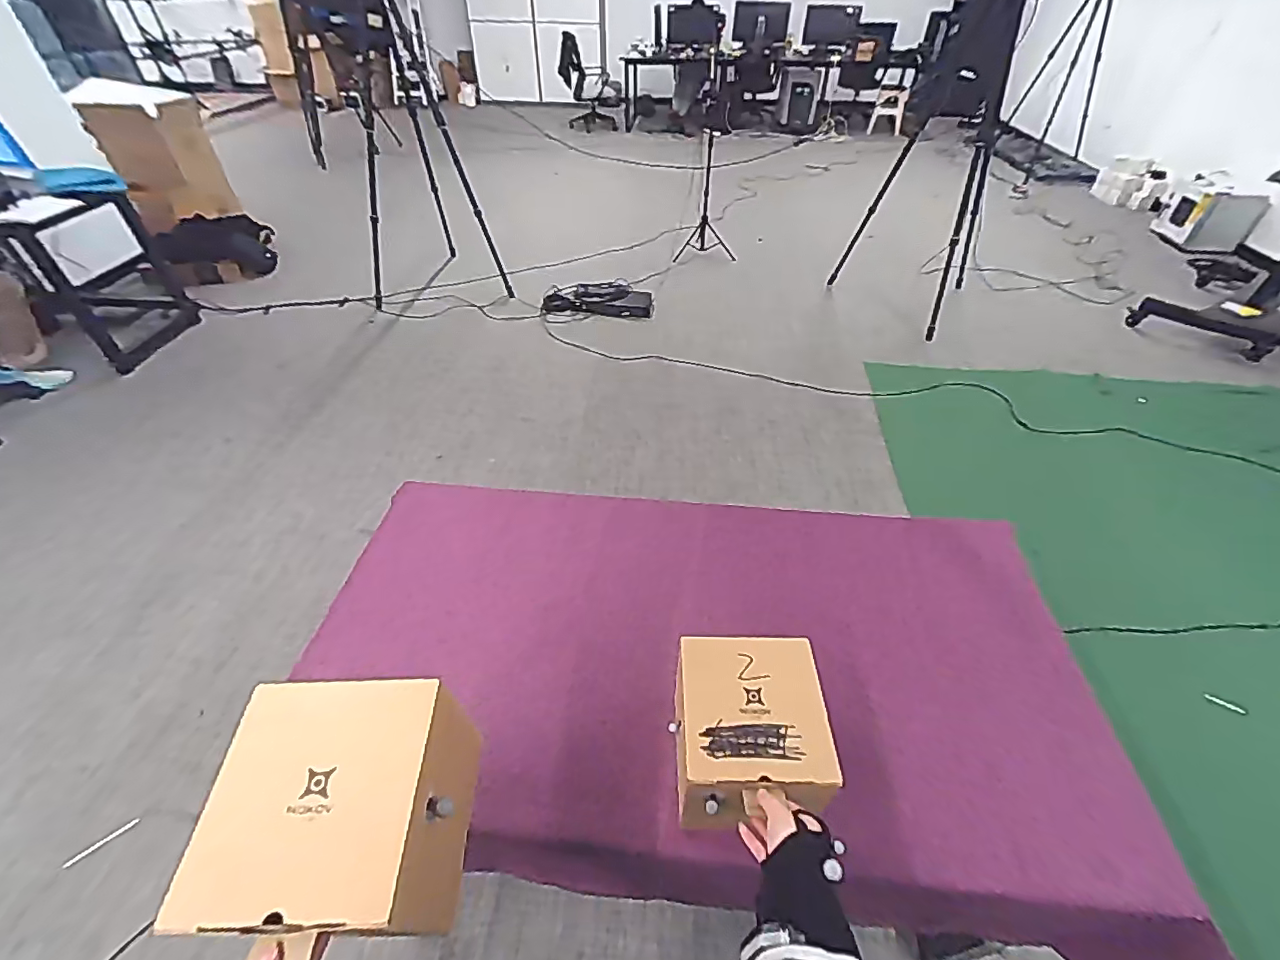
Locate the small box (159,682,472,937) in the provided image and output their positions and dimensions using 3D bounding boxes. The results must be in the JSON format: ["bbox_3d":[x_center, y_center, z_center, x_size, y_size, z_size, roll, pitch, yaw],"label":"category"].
[{"bbox_3d":[-0.264,0.304,0.498,0.168,0.176,0.179,-1,50,-1],"label":"small box"}]
